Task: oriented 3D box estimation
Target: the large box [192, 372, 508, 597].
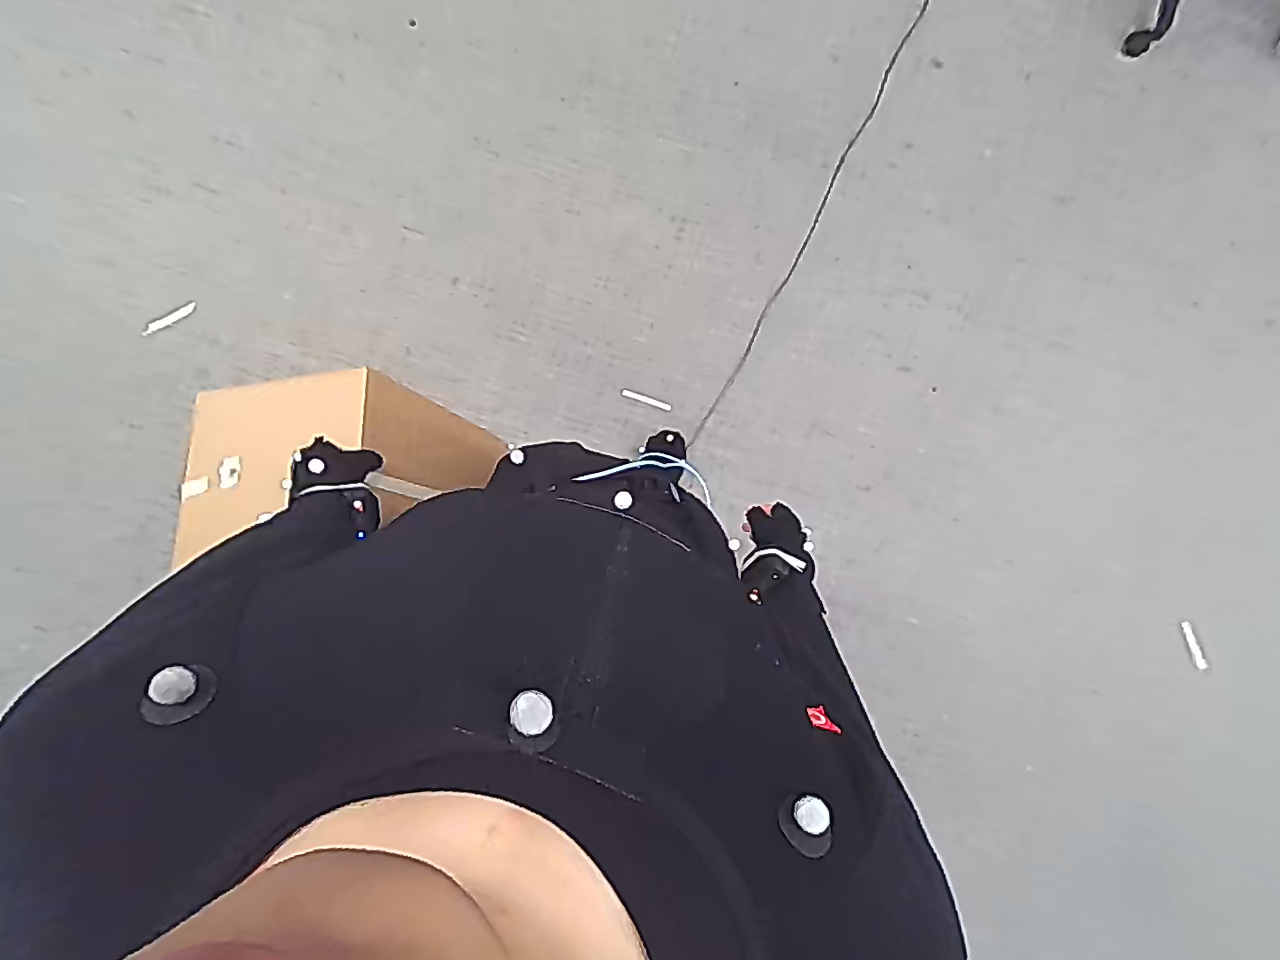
[{"bbox_3d":[-0.474,0.040,0.965,0.320,0.408,0.320,-5,78,14],"label":"large box"}]
